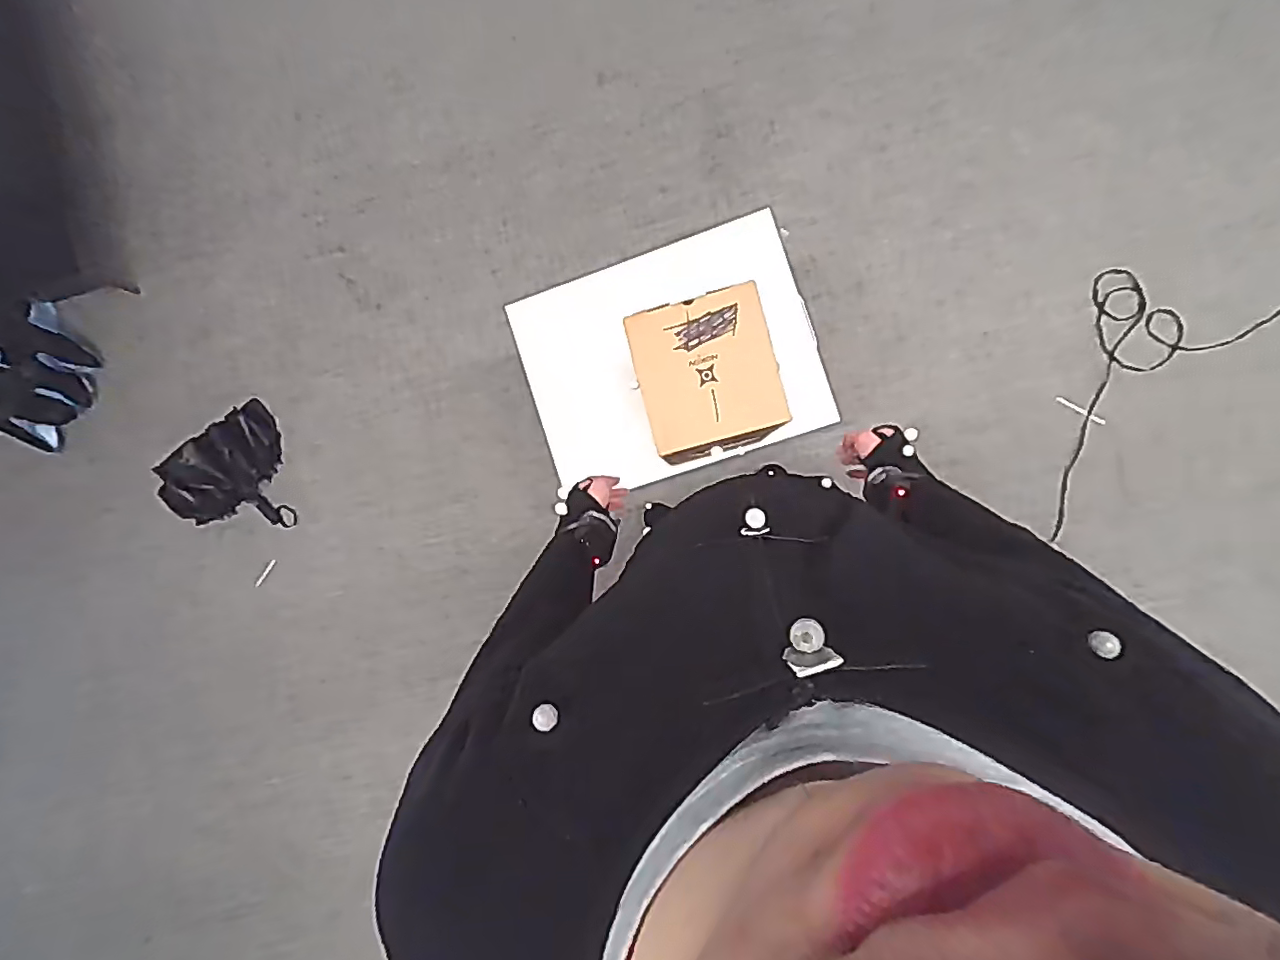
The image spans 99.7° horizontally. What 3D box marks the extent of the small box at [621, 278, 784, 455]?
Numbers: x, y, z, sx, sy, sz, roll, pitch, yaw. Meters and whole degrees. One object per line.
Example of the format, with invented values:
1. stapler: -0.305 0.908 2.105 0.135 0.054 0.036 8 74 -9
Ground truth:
1. small box: 0.079 -0.138 0.724 0.168 0.176 0.179 -14 89 5
